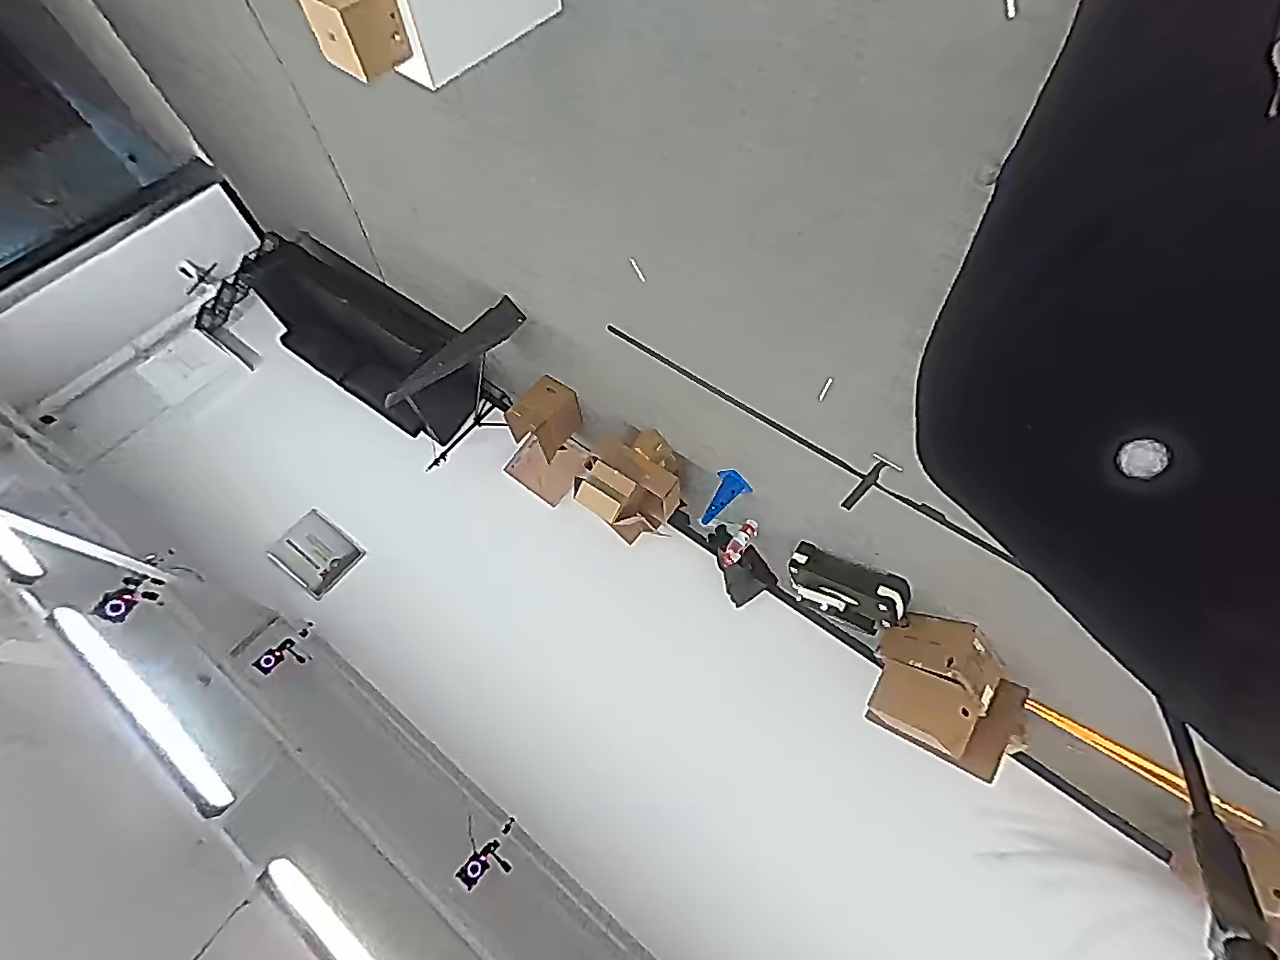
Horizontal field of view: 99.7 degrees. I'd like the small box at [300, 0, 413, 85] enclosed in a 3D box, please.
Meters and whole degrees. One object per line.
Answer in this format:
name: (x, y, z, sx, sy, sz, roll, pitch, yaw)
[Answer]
small box: (-0.728, -1.174, 1.394, 0.179, 0.176, 0.168, 36, 160, 14)
